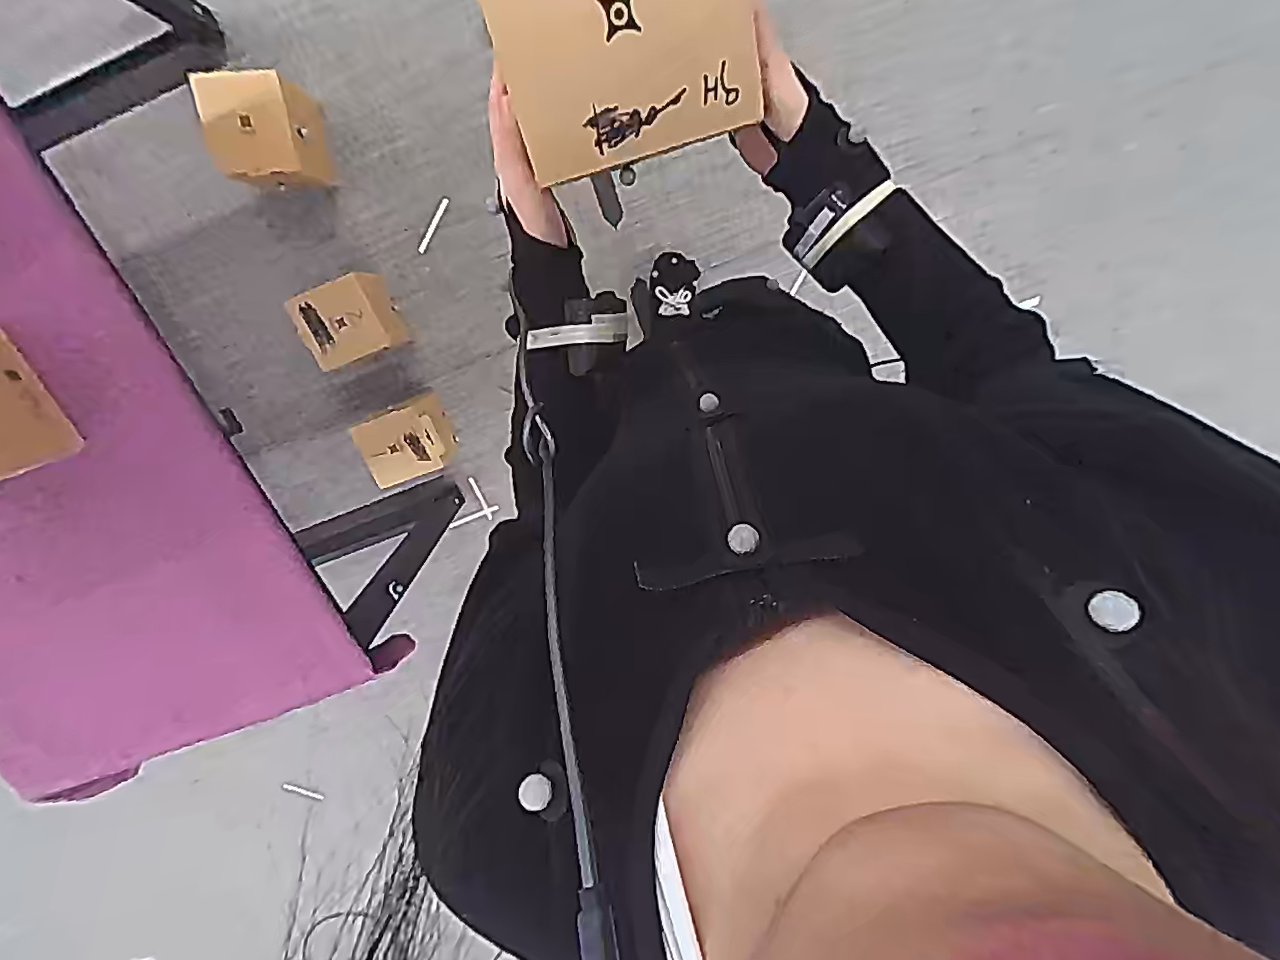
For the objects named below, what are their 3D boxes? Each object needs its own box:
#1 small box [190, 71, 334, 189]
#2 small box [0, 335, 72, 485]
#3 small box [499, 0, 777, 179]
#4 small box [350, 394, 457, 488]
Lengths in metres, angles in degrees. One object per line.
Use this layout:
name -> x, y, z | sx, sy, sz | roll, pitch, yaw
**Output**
small box -> -0.778, -0.725, 1.136 | 0.168, 0.176, 0.179 | -5, 111, -3
small box -> -0.805, -0.056, 0.597 | 0.179, 0.176, 0.168 | -18, 109, 5
small box -> -0.014, -0.339, 0.399 | 0.168, 0.176, 0.179 | -15, 119, 2
small box -> -0.583, -0.104, 1.370 | 0.179, 0.176, 0.168 | -19, 110, 4
